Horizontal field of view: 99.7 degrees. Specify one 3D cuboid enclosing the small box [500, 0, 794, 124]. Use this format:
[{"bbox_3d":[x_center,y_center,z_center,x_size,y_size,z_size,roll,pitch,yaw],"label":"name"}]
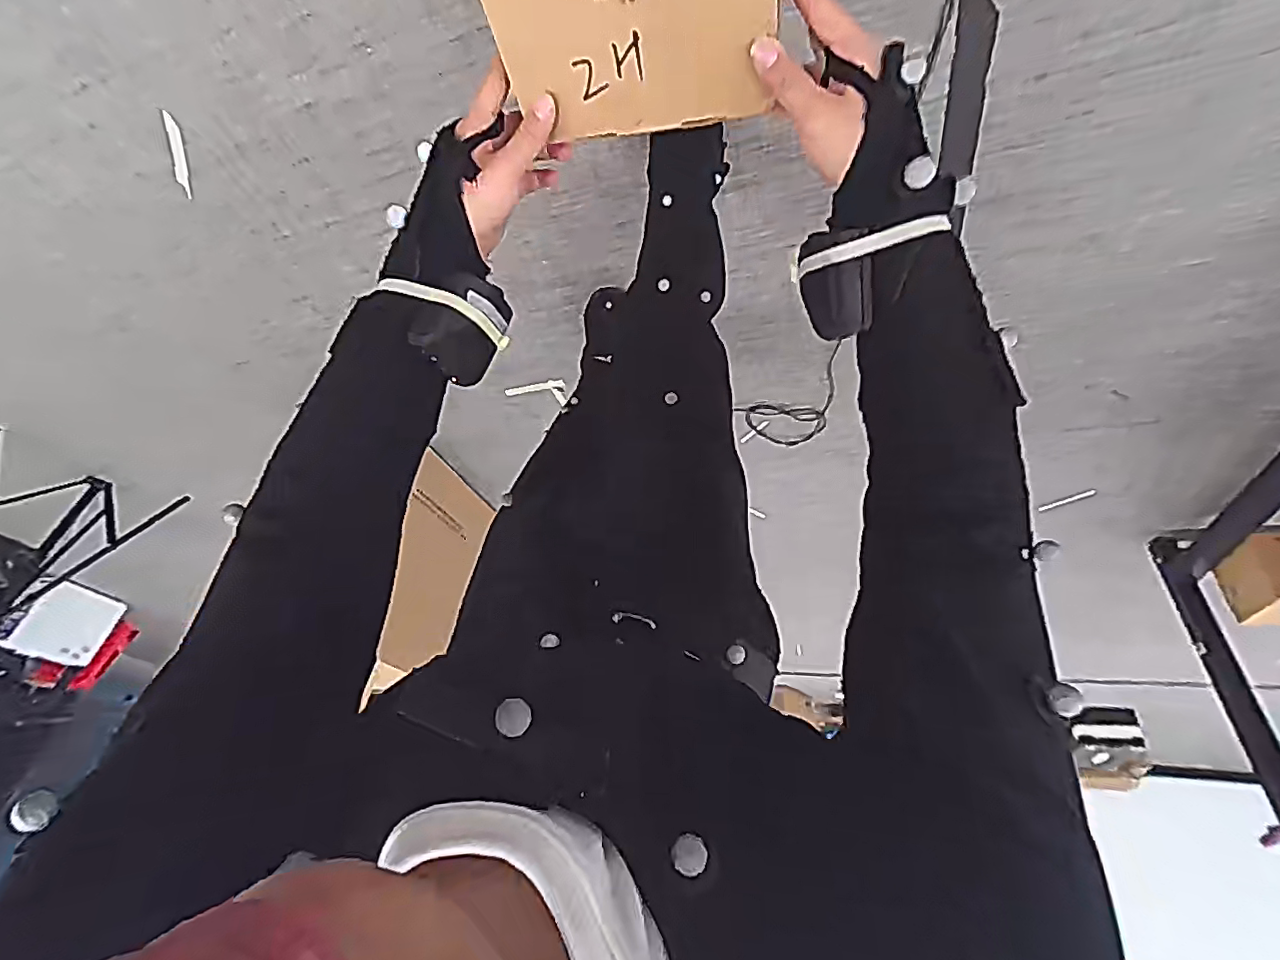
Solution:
[{"bbox_3d":[0.006,-0.352,0.315,0.168,0.176,0.179,1,150,14],"label":"small box"}]
